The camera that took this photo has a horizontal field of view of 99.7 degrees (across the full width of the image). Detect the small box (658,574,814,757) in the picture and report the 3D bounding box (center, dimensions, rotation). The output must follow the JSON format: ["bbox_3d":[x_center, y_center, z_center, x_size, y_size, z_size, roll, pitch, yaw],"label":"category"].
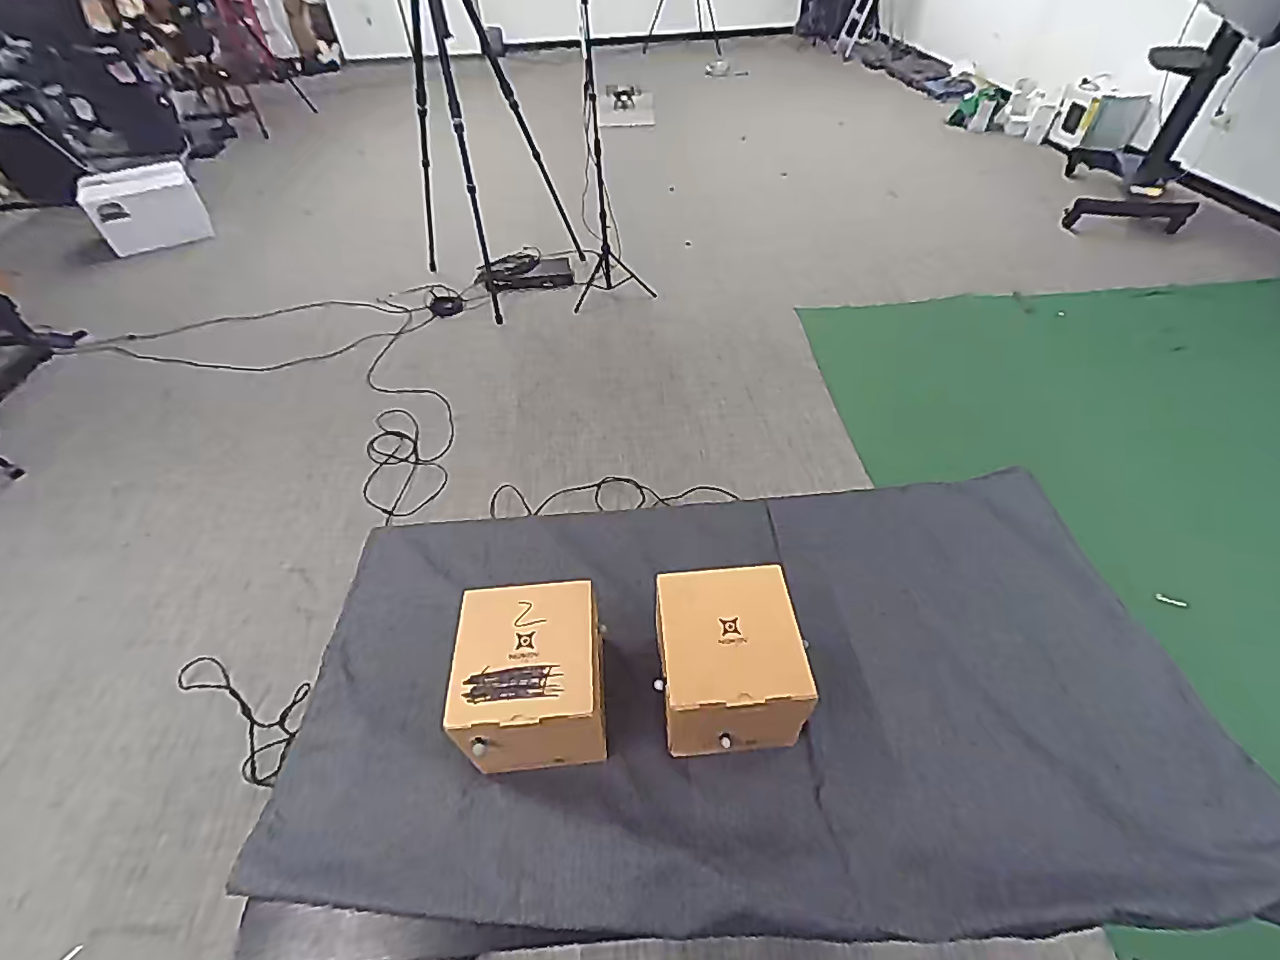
[{"bbox_3d":[0.112,0.247,0.722,0.168,0.176,0.179,-4,48,-2],"label":"small box"}]
